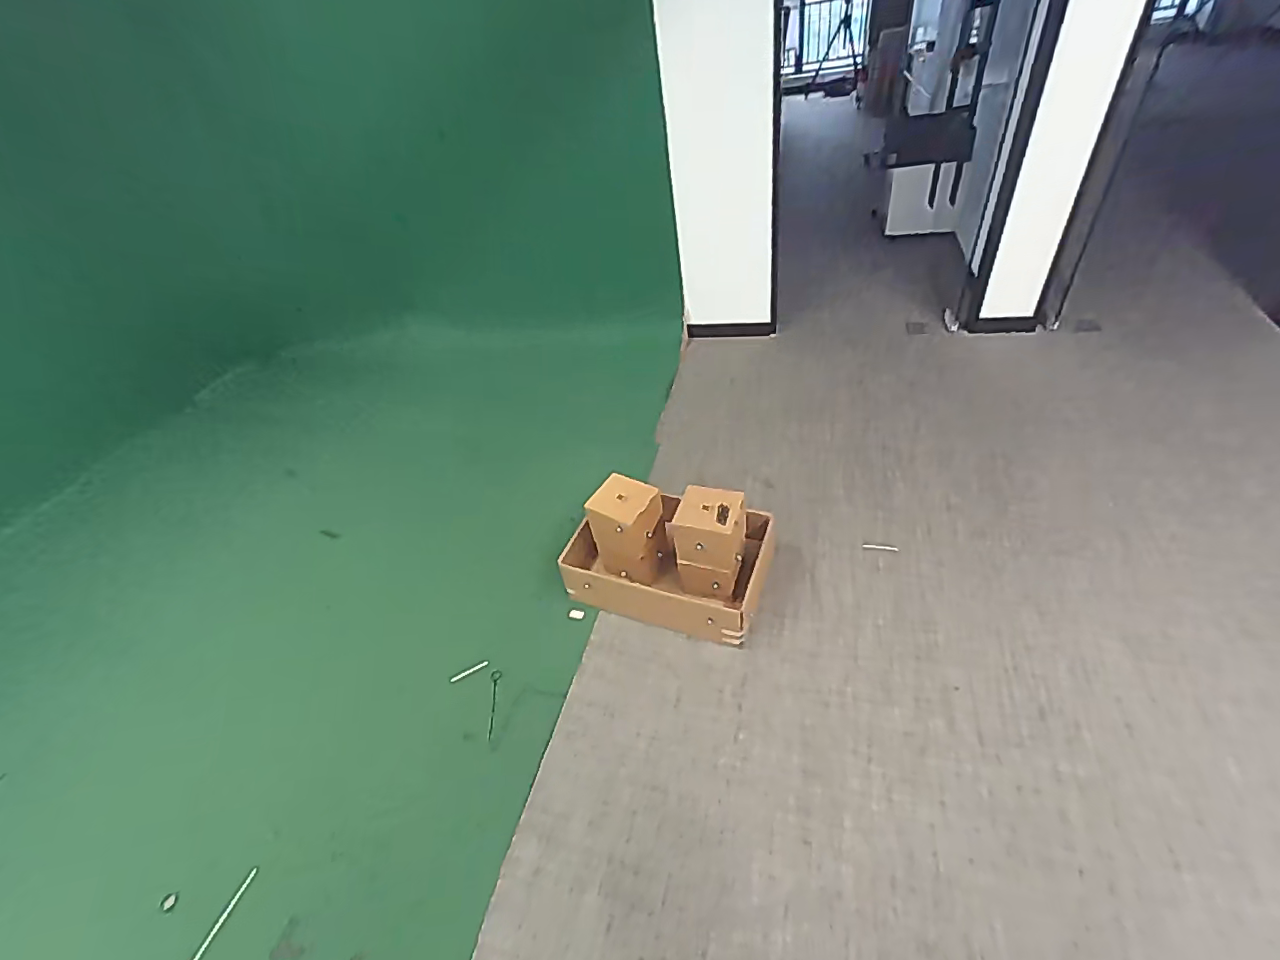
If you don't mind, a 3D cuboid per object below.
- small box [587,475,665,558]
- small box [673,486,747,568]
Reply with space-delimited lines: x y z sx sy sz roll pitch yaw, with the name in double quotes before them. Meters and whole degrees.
"small box" -0.038 0.118 1.695 0.179 0.176 0.168 20 51 28
"small box" 0.216 0.142 1.604 0.179 0.176 0.168 8 46 23
